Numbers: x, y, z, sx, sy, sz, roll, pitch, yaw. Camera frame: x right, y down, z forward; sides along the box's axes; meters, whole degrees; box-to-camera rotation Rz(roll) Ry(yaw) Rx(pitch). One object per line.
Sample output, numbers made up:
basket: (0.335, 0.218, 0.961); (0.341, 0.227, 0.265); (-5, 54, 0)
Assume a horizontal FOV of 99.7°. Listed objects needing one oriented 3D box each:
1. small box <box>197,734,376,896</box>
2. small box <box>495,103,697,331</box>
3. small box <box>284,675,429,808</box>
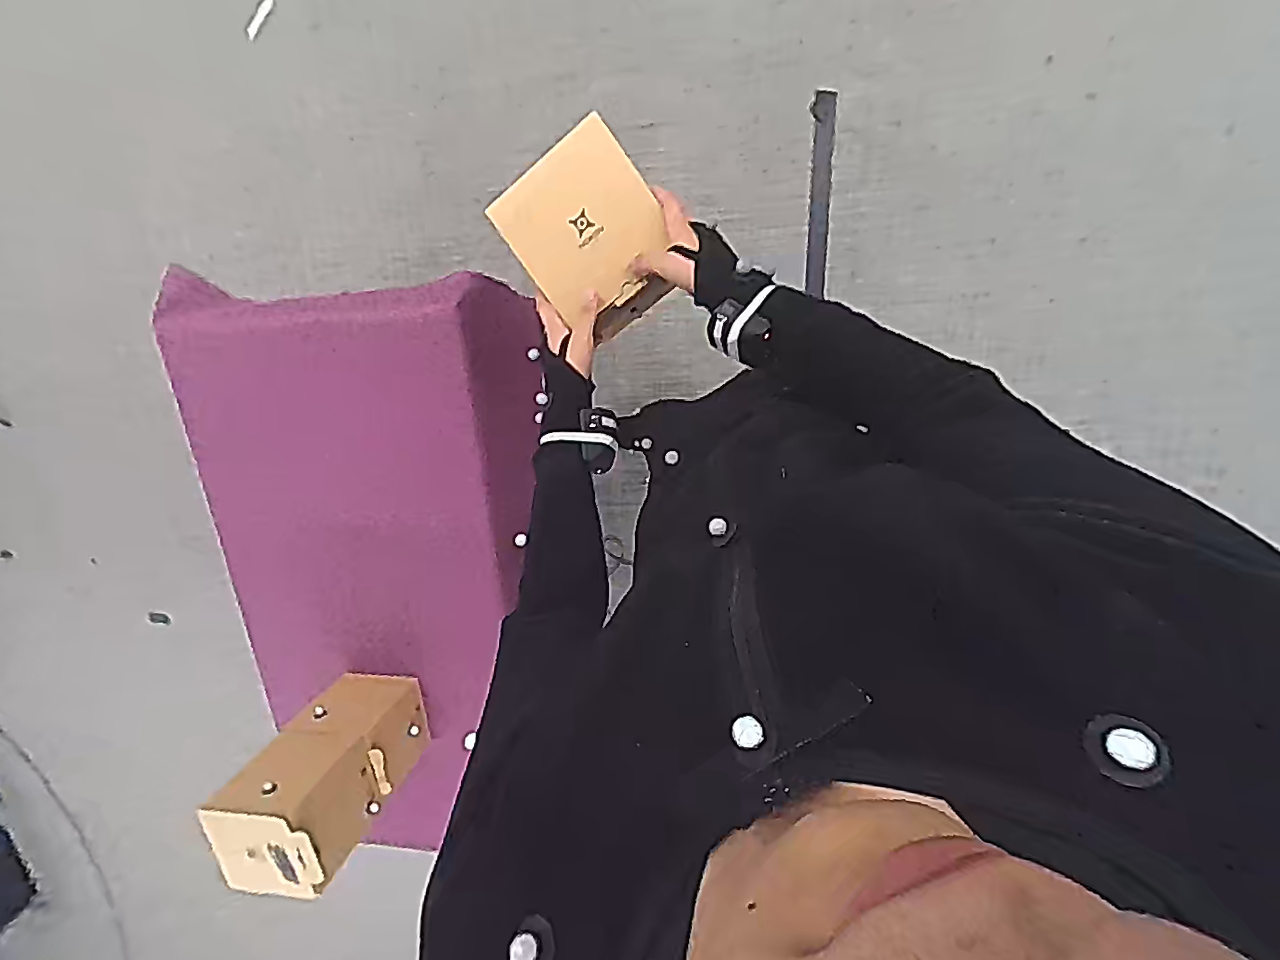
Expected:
small box: (-0.582, 0.559, 0.921); (0.179, 0.176, 0.168); (-4, 106, 13)
small box: (-0.043, -0.307, 0.680); (0.168, 0.176, 0.179); (-35, 95, 12)
small box: (-0.552, 0.510, 1.074); (0.179, 0.176, 0.168); (-1, 107, 11)
